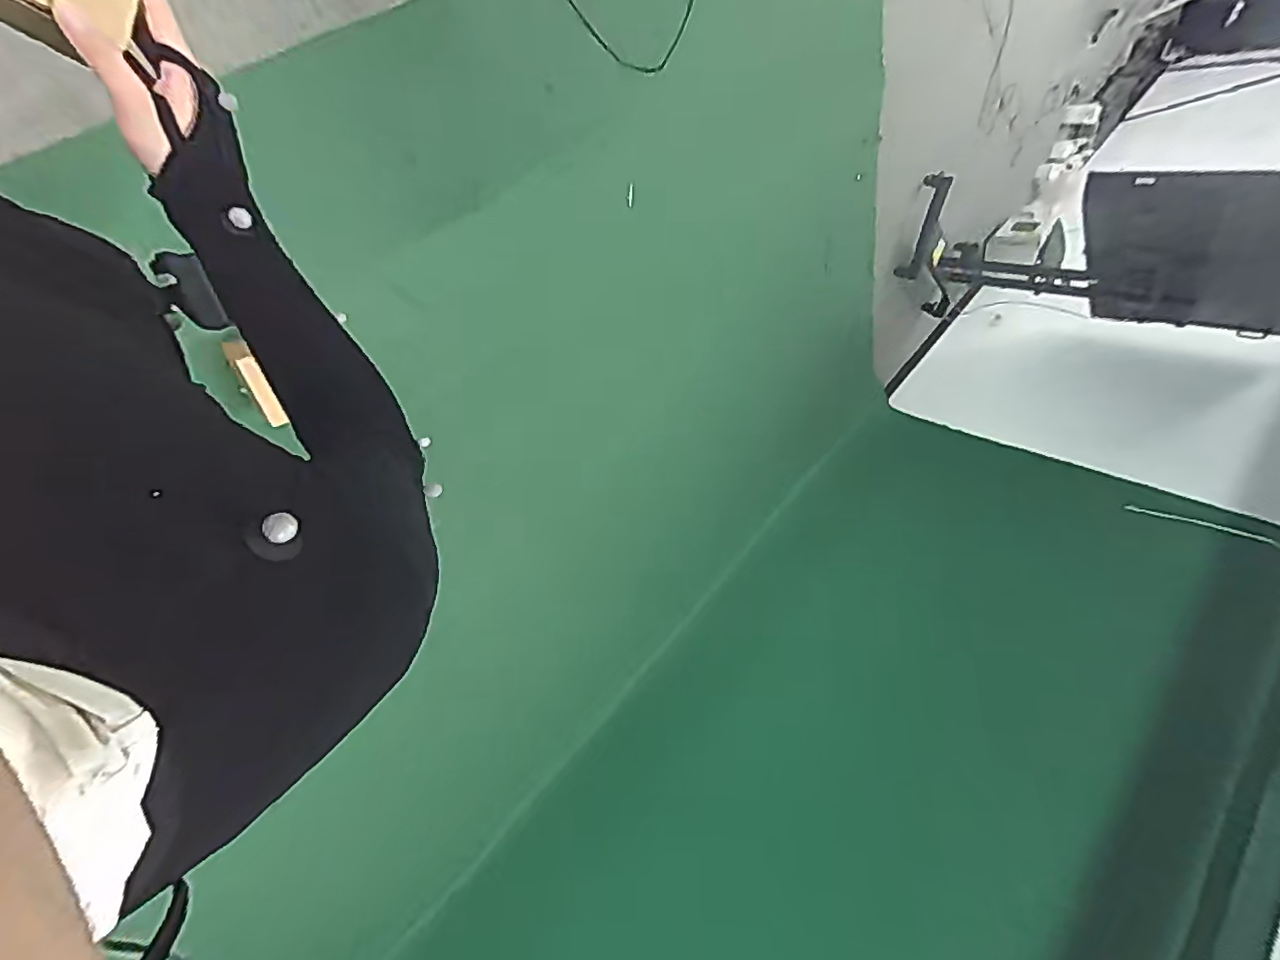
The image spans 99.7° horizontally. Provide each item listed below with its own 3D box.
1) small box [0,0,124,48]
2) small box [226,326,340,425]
[{"bbox_3d":[-0.442,-0.427,0.351,0.168,0.176,0.179,10,104,-54],"label":"small box"},{"bbox_3d":[-0.887,-0.266,1.346,0.168,0.176,0.179,-32,132,-31],"label":"small box"}]
